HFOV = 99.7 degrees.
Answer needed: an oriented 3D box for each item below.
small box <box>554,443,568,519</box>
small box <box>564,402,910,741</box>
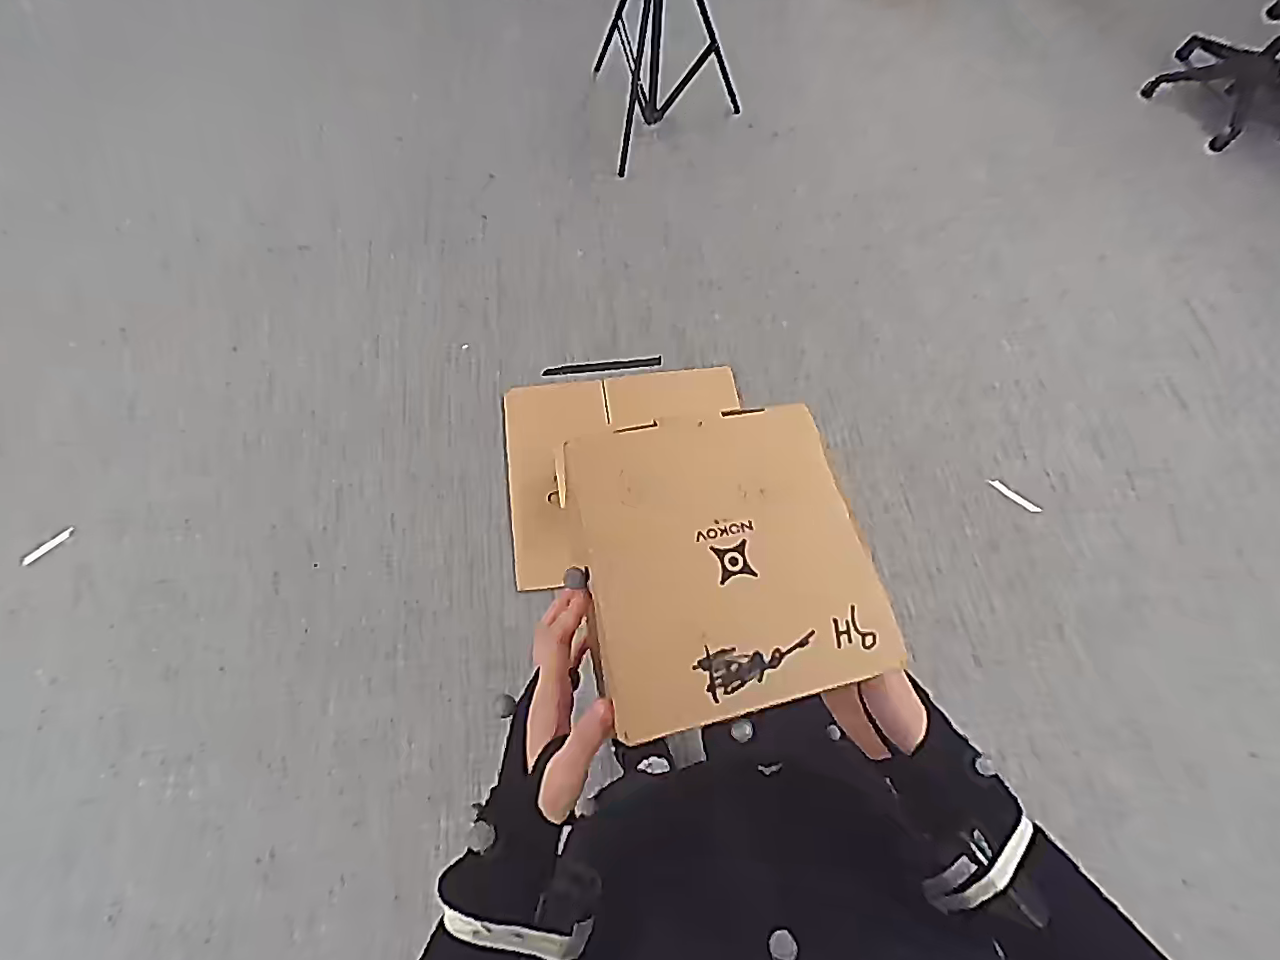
[{"bbox_3d":[-0.126,0.007,1.416,0.168,0.176,0.179,-9,69,-6],"label":"small box"},{"bbox_3d":[0.042,0.071,0.384,0.168,0.176,0.179,-11,68,-11],"label":"small box"}]
